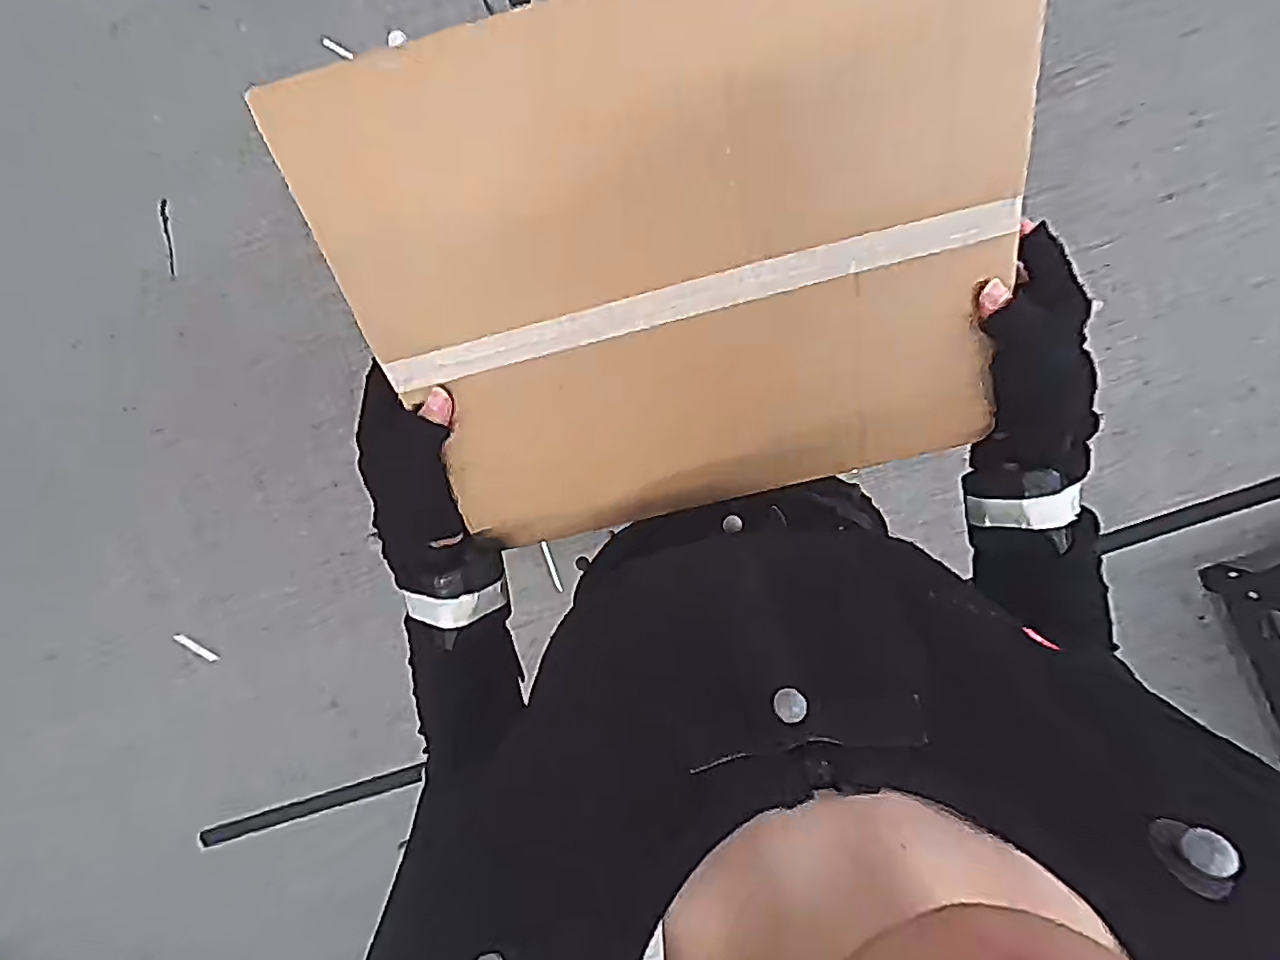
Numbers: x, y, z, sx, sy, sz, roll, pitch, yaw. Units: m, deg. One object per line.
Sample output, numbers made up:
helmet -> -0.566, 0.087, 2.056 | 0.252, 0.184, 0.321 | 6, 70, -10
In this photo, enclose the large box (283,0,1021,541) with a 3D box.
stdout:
large box -> 0.022, -0.197, 0.478 | 0.408, 0.320, 0.320 | -13, 122, 4
